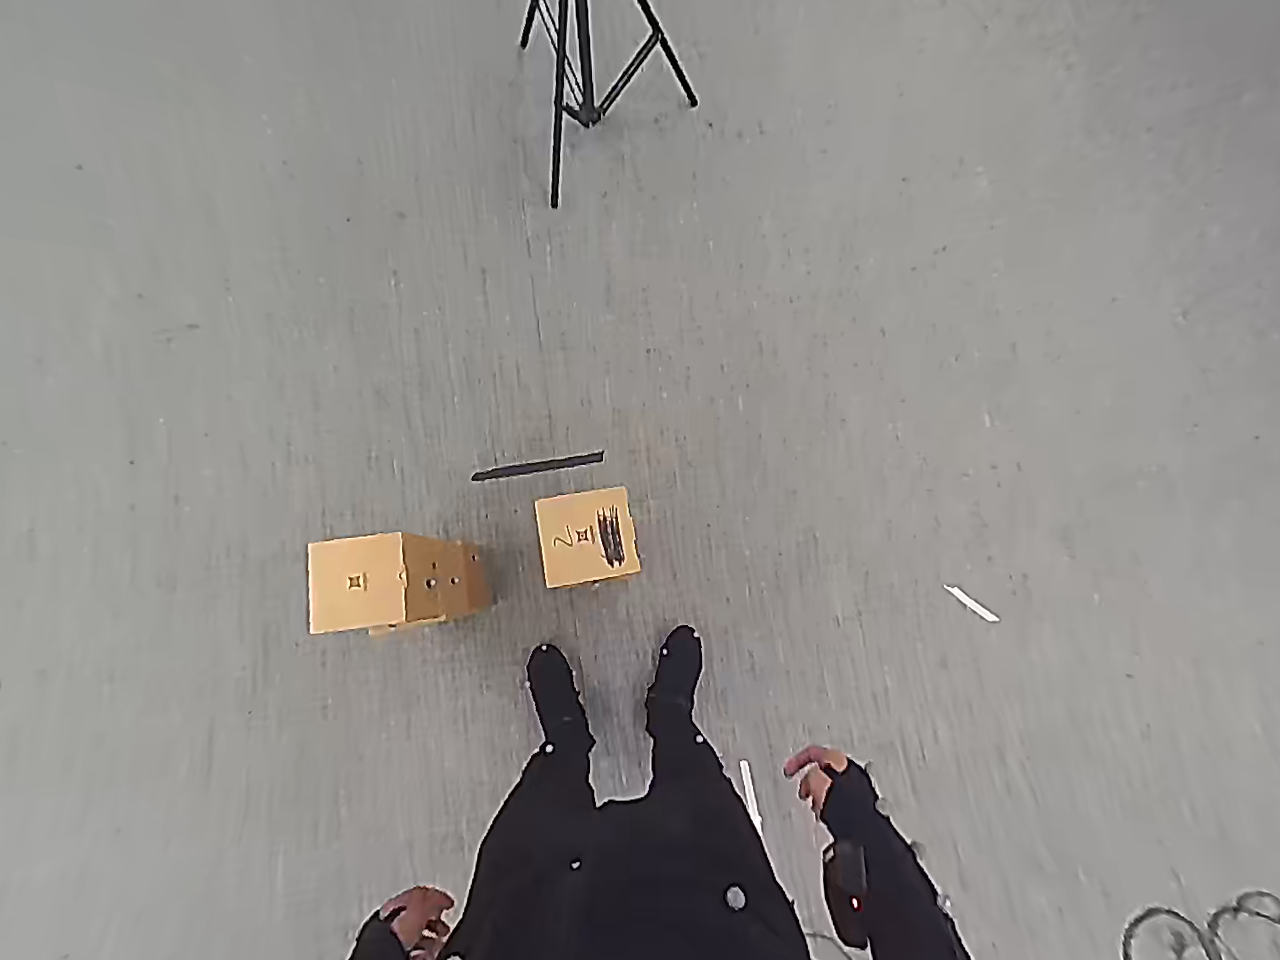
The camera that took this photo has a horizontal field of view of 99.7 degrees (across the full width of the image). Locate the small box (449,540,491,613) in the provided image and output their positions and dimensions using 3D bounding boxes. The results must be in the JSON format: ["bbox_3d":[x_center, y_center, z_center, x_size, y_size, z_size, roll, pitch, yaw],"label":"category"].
[{"bbox_3d":[-0.492,0.261,1.379,0.168,0.176,0.179,-14,80,-3],"label":"small box"}]

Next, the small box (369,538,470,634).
[{"bbox_3d":[-0.496,0.237,1.216,0.168,0.176,0.179,-12,80,-2],"label":"small box"}]

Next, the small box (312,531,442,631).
[{"bbox_3d":[-0.508,0.198,1.059,0.179,0.176,0.168,-7,79,-2],"label":"small box"}]

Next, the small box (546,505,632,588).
[{"bbox_3d":[-0.115,0.155,1.238,0.179,0.176,0.168,-5,79,-3],"label":"small box"}]
